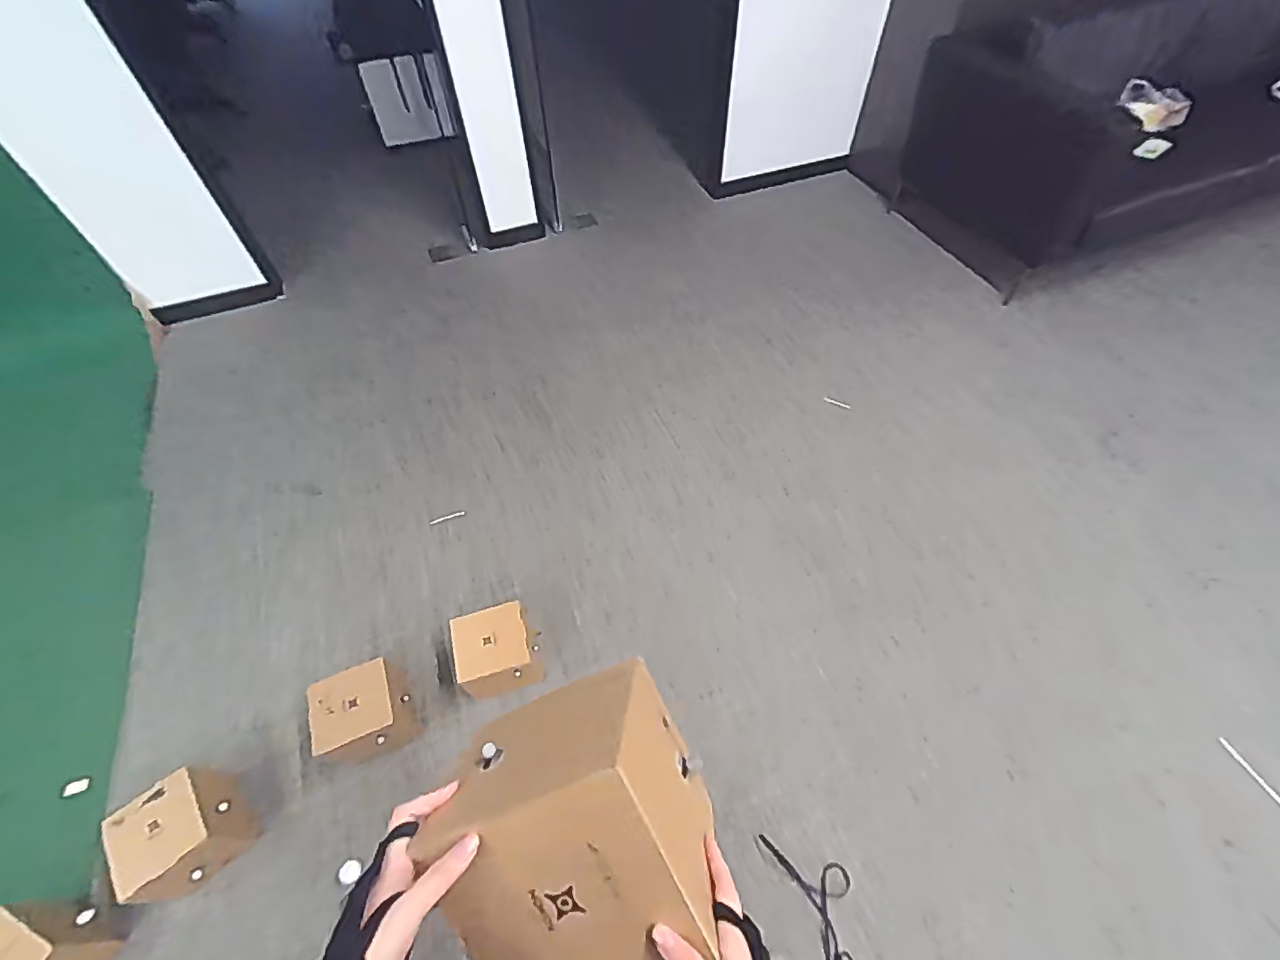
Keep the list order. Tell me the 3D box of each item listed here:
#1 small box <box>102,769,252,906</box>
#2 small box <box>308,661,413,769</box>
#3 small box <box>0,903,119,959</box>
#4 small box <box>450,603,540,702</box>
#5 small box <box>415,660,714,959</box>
[{"bbox_3d":[-0.979,0.757,1.156,0.168,0.176,0.179,-34,61,-21],"label":"small box"},{"bbox_3d":[-0.659,0.563,1.291,0.179,0.176,0.168,-20,55,-13],"label":"small box"},{"bbox_3d":[-1.175,0.942,1.025,0.168,0.176,0.179,19,56,15],"label":"small box"},{"bbox_3d":[-0.367,0.444,1.376,0.179,0.176,0.168,-15,55,-10],"label":"small box"},{"bbox_3d":[-0.047,0.288,0.466,0.179,0.176,0.168,-25,95,8],"label":"small box"}]
